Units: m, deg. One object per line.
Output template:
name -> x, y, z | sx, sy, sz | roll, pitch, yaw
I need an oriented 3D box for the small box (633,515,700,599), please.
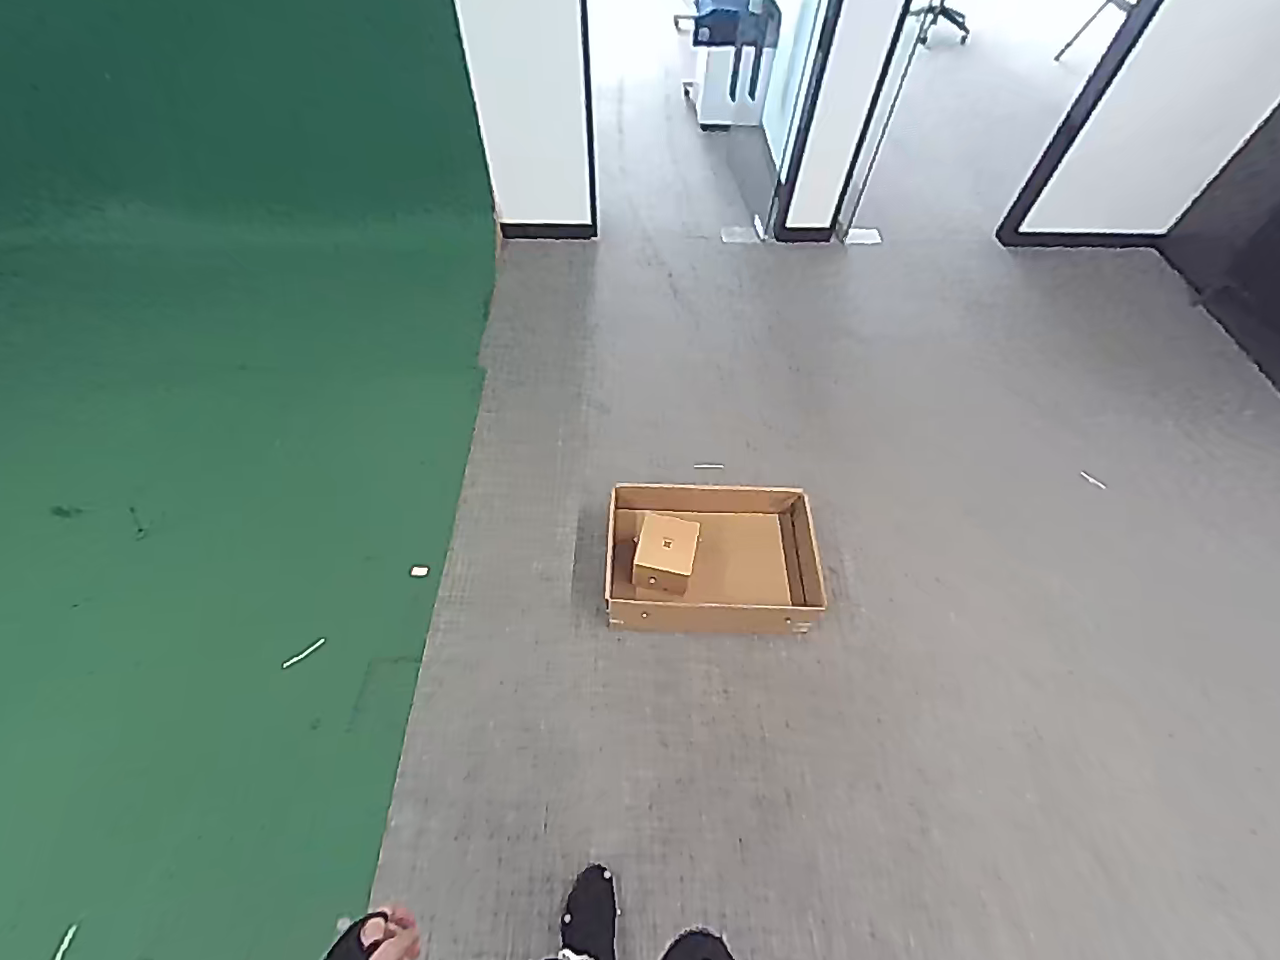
small box -> 0.077, 0.233, 1.610 | 0.168, 0.176, 0.179 | 11, 55, 5
